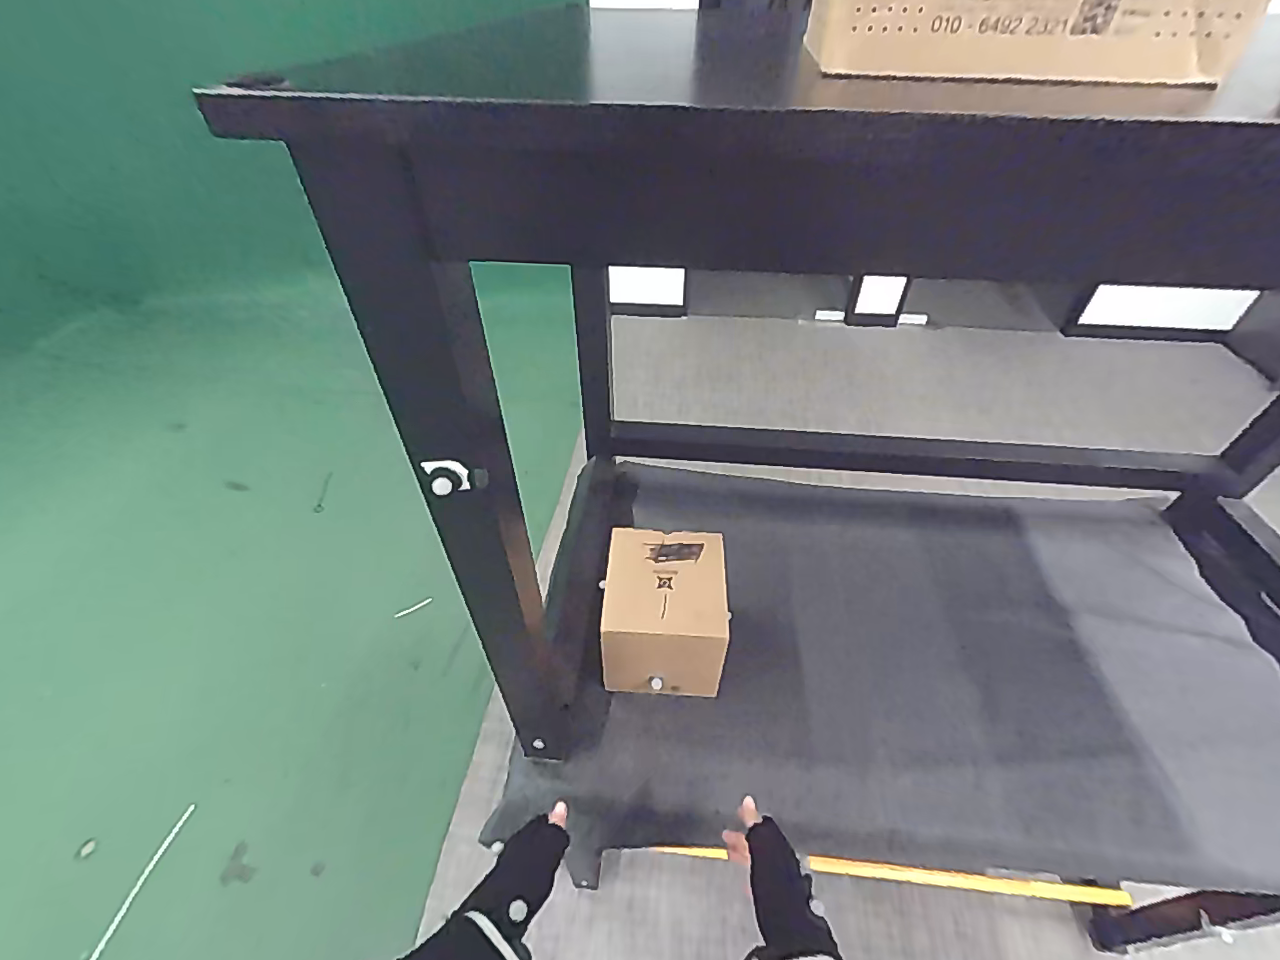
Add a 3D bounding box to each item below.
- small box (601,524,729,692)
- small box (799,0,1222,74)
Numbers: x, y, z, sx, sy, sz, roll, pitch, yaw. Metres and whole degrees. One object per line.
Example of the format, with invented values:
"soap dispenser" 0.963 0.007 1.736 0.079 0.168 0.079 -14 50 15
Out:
"small box" 0.035 0.186 0.795 0.168 0.176 0.179 2 44 2
"small box" 0.174 -0.299 0.248 0.168 0.176 0.179 6 43 7
